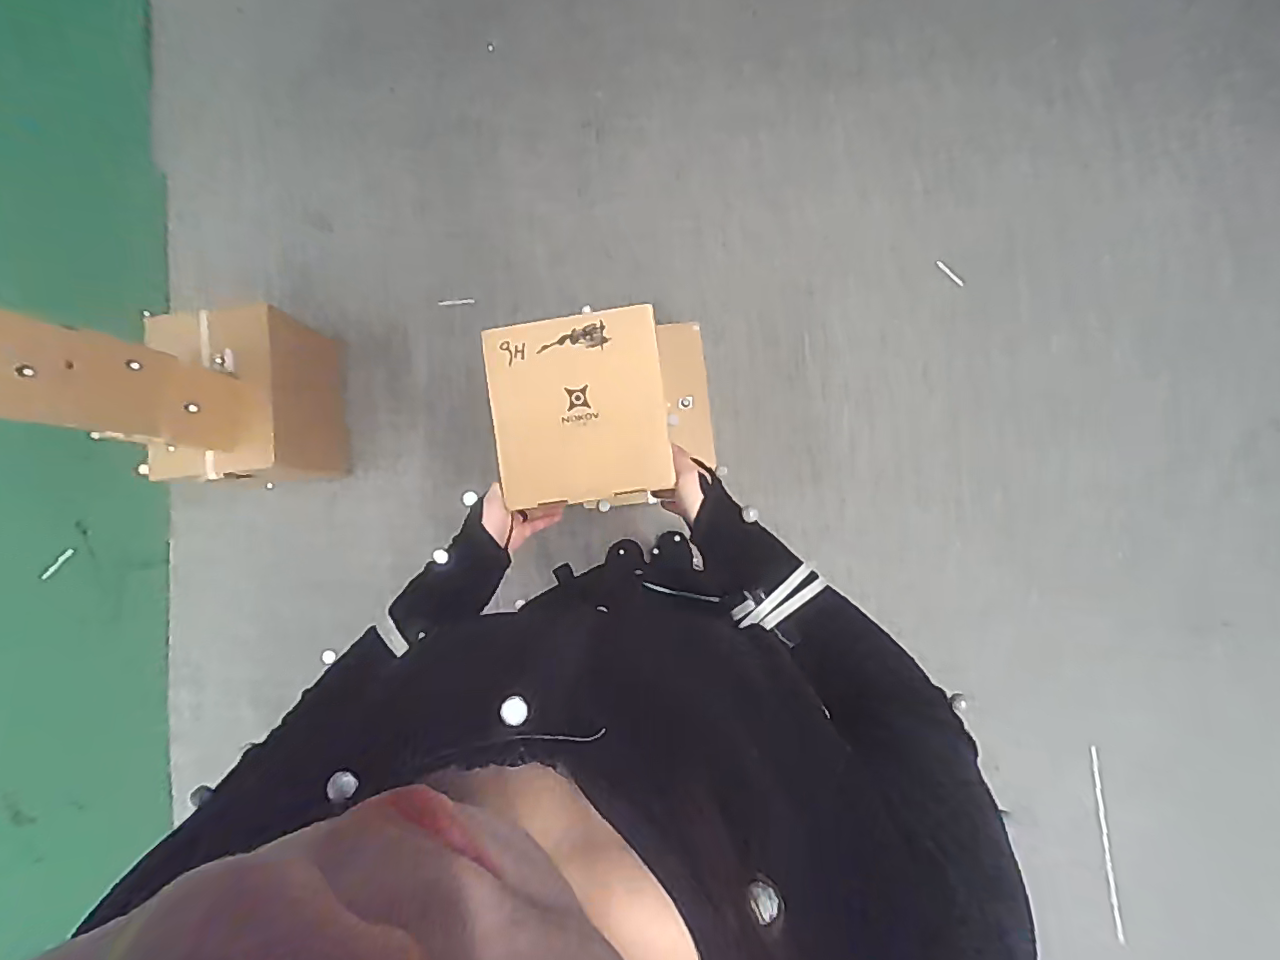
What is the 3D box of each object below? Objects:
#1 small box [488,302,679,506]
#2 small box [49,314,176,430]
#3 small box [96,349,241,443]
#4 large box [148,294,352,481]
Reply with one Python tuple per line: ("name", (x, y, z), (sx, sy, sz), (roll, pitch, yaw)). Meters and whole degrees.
("small box", (-0.048, -0.074, 0.588), (0.168, 0.176, 0.179), (-8, 91, 3))
("small box", (-1.037, -0.201, 1.025), (0.168, 0.176, 0.179), (9, 88, 5))
("small box", (-1.022, -0.184, 1.187), (0.168, 0.176, 0.179), (5, 88, 4))
("large box", (-1.008, -0.221, 1.431), (0.320, 0.320, 0.408), (-6, 86, 3))
